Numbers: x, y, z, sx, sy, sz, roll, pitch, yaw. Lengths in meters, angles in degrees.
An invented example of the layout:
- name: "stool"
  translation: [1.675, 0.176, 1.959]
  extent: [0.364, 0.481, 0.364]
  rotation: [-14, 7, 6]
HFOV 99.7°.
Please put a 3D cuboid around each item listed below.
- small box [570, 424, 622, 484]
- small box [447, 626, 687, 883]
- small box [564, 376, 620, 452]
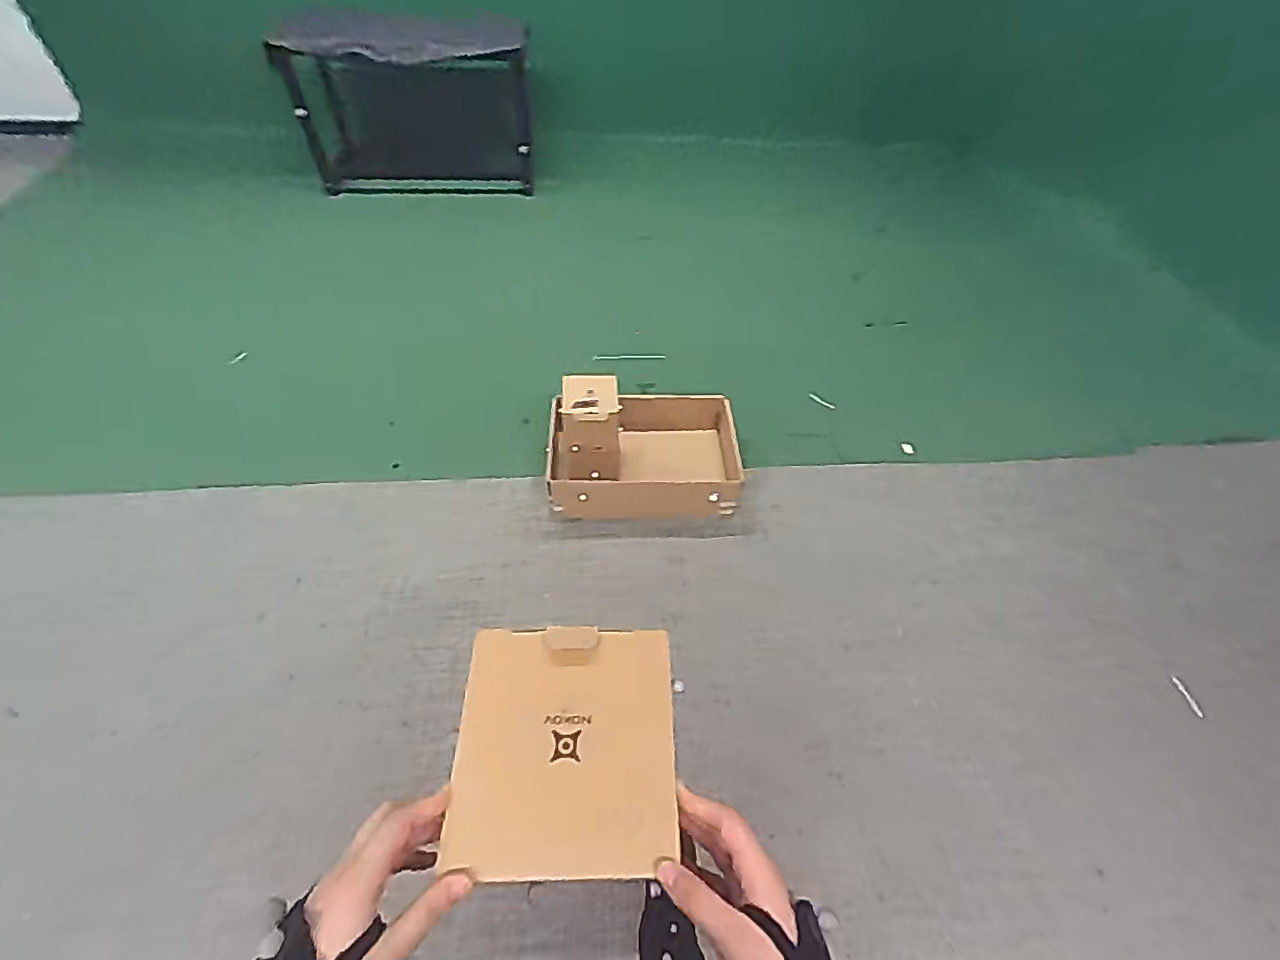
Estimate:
- name: "small box"
  translation: [-0.148, -0.106, 1.806]
  extent: [0.168, 0.176, 0.179]
  rotation: [-2, 51, -5]
- name: "small box"
  translation: [-0.053, 0.243, 0.475]
  extent: [0.168, 0.176, 0.179]
  rotation: [1, 52, -3]
- name: "small box"
  translation: [-0.144, -0.201, 1.671]
  extent: [0.168, 0.176, 0.179]
  rotation: [-1, 50, -5]
